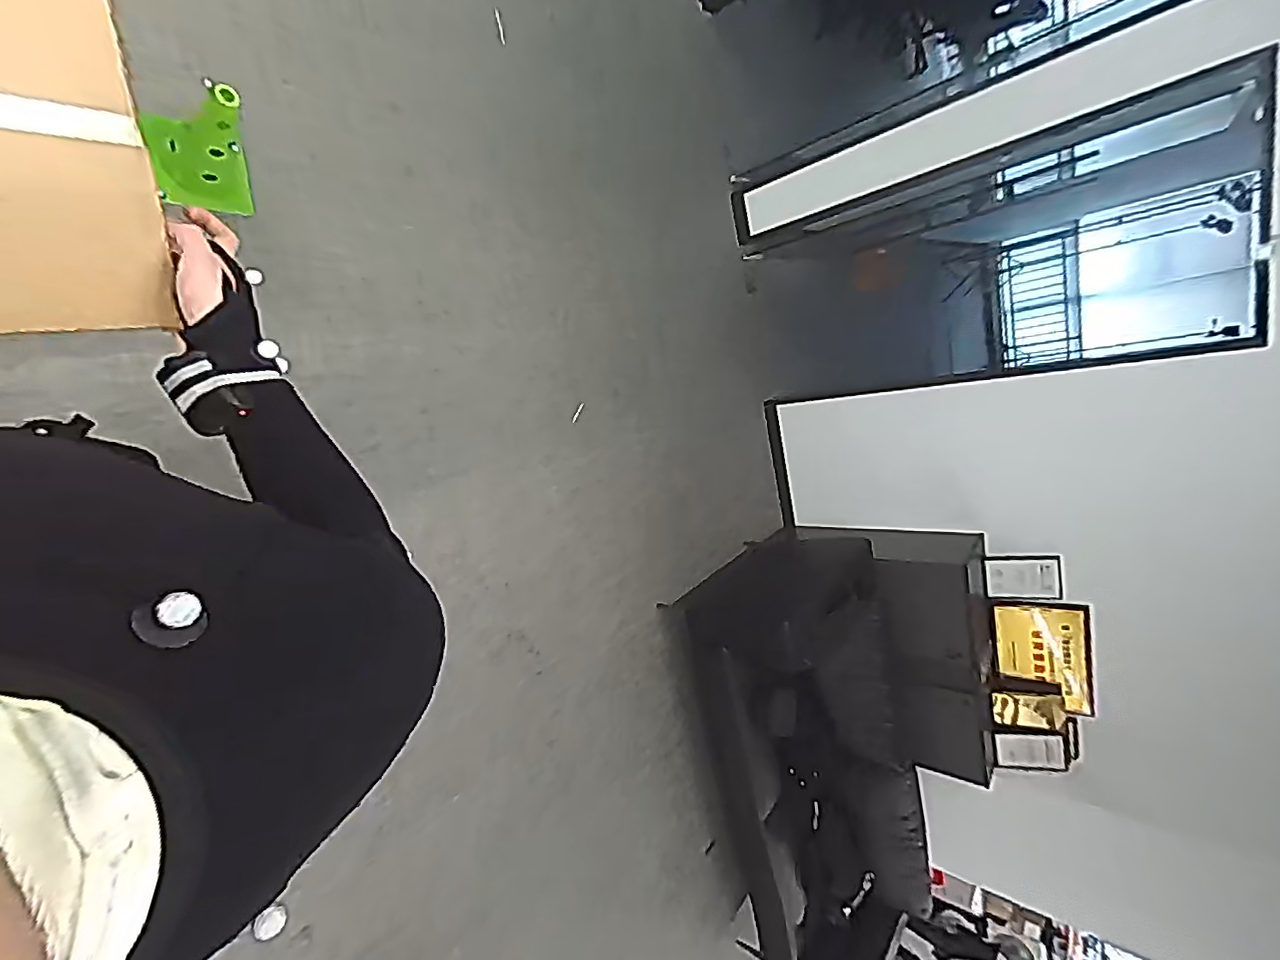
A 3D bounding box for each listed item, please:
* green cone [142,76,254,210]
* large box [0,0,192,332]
[{"bbox_3d":[-0.954,-0.780,1.207,0.200,0.368,0.202,-16,100,-46],"label":"green cone"},{"bbox_3d":[-0.655,-0.288,0.399,0.408,0.320,0.320,-21,127,-45],"label":"large box"}]
